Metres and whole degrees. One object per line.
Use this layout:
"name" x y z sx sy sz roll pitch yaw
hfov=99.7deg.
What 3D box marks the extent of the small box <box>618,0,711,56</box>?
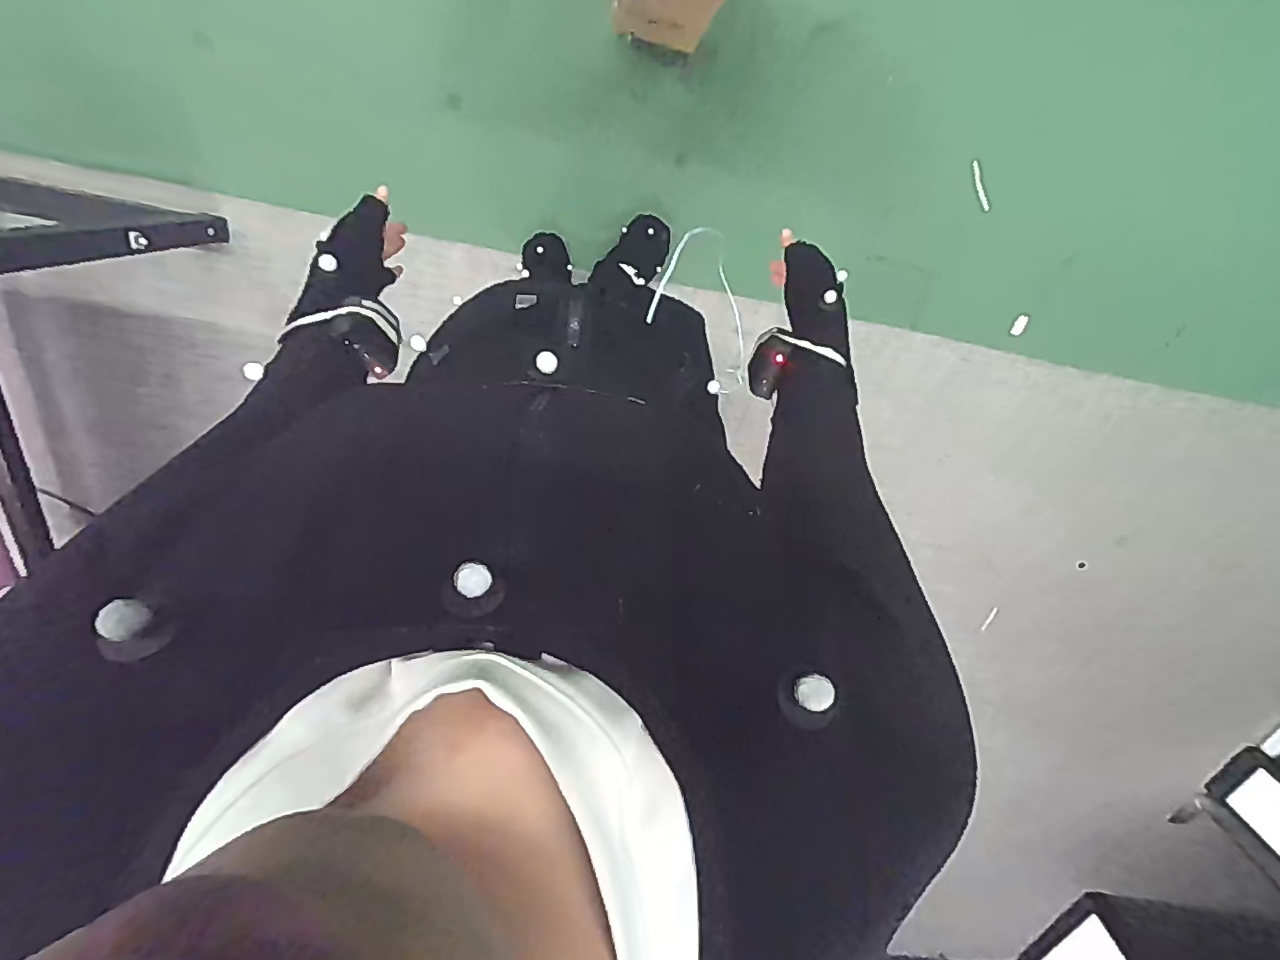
"small box" 0.058 -0.927 1.004 0.168 0.176 0.179 11 117 -8
